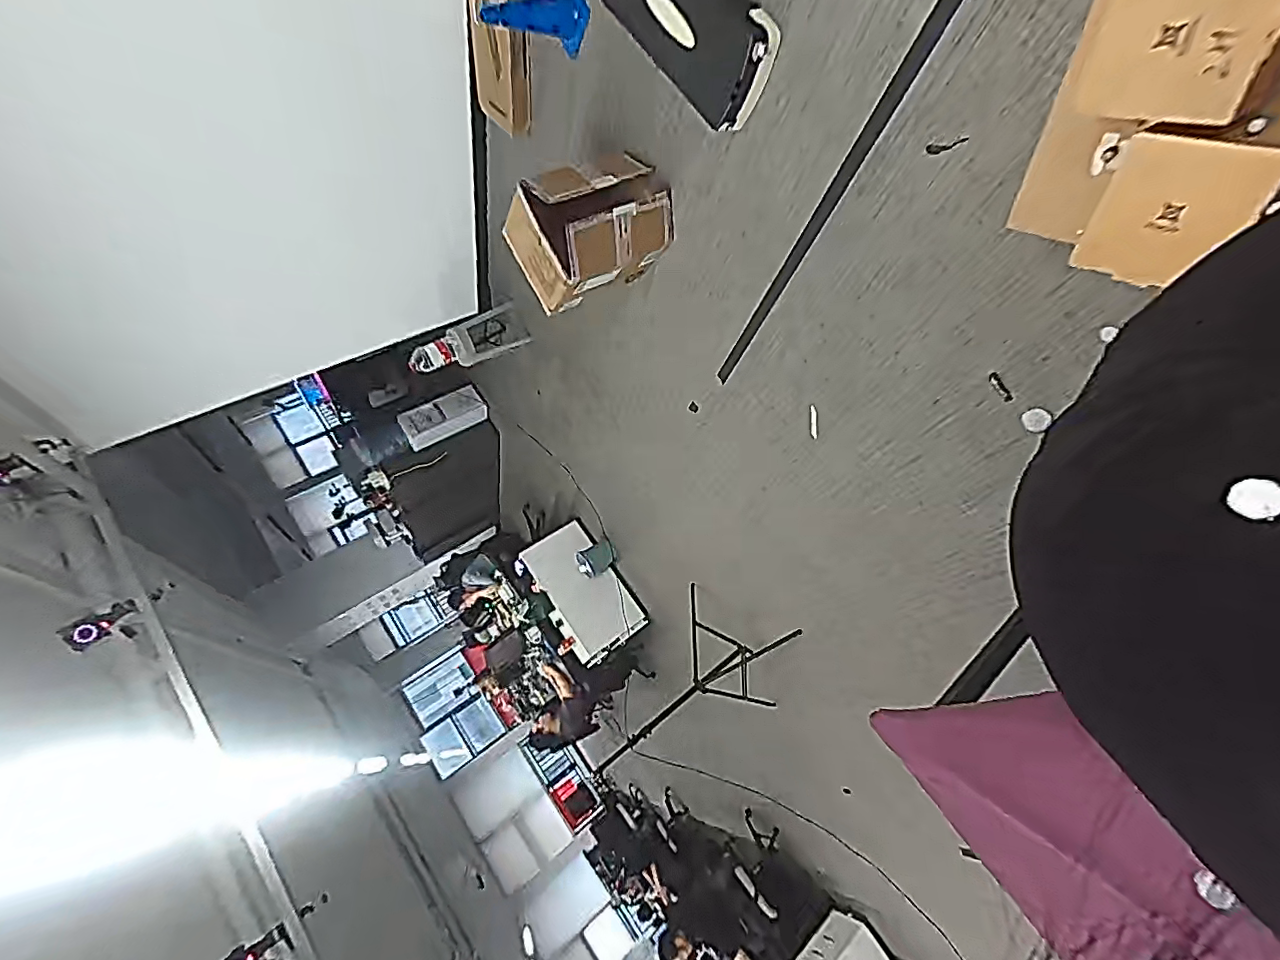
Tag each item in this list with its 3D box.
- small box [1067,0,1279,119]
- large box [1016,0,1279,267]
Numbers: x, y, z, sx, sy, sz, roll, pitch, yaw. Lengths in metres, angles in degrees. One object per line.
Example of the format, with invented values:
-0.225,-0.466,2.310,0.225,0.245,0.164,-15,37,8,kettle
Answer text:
0.684,-0.558,0.656,0.179,0.176,0.168,37,148,37,small box
0.879,-0.607,0.825,0.320,0.320,0.408,39,149,37,large box
